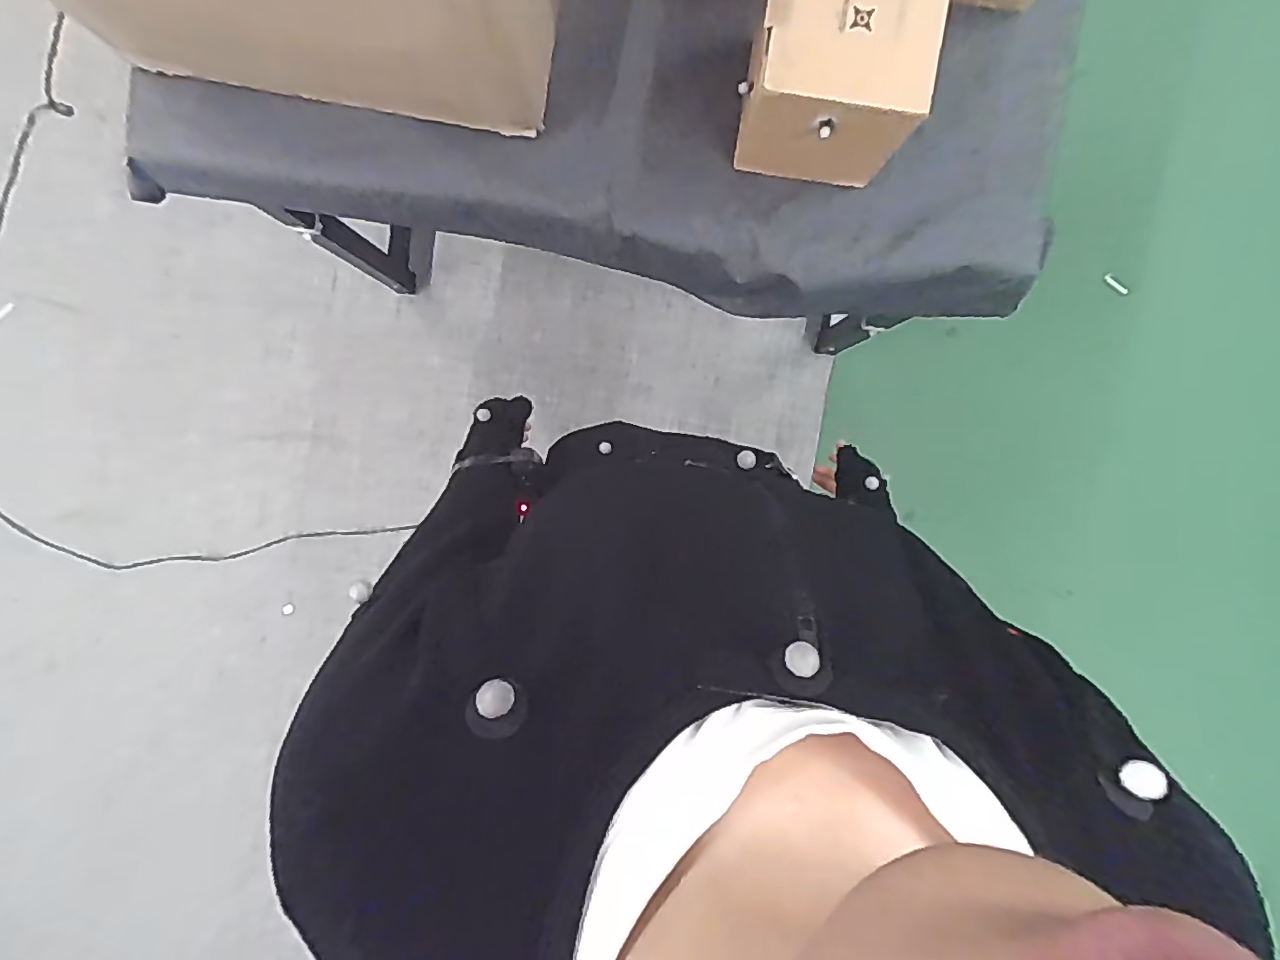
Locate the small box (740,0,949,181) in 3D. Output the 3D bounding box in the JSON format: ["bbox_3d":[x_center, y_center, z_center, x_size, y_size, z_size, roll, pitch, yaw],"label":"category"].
[{"bbox_3d":[0.224,-0.476,0.629,0.179,0.176,0.168,9,95,-1],"label":"small box"}]
